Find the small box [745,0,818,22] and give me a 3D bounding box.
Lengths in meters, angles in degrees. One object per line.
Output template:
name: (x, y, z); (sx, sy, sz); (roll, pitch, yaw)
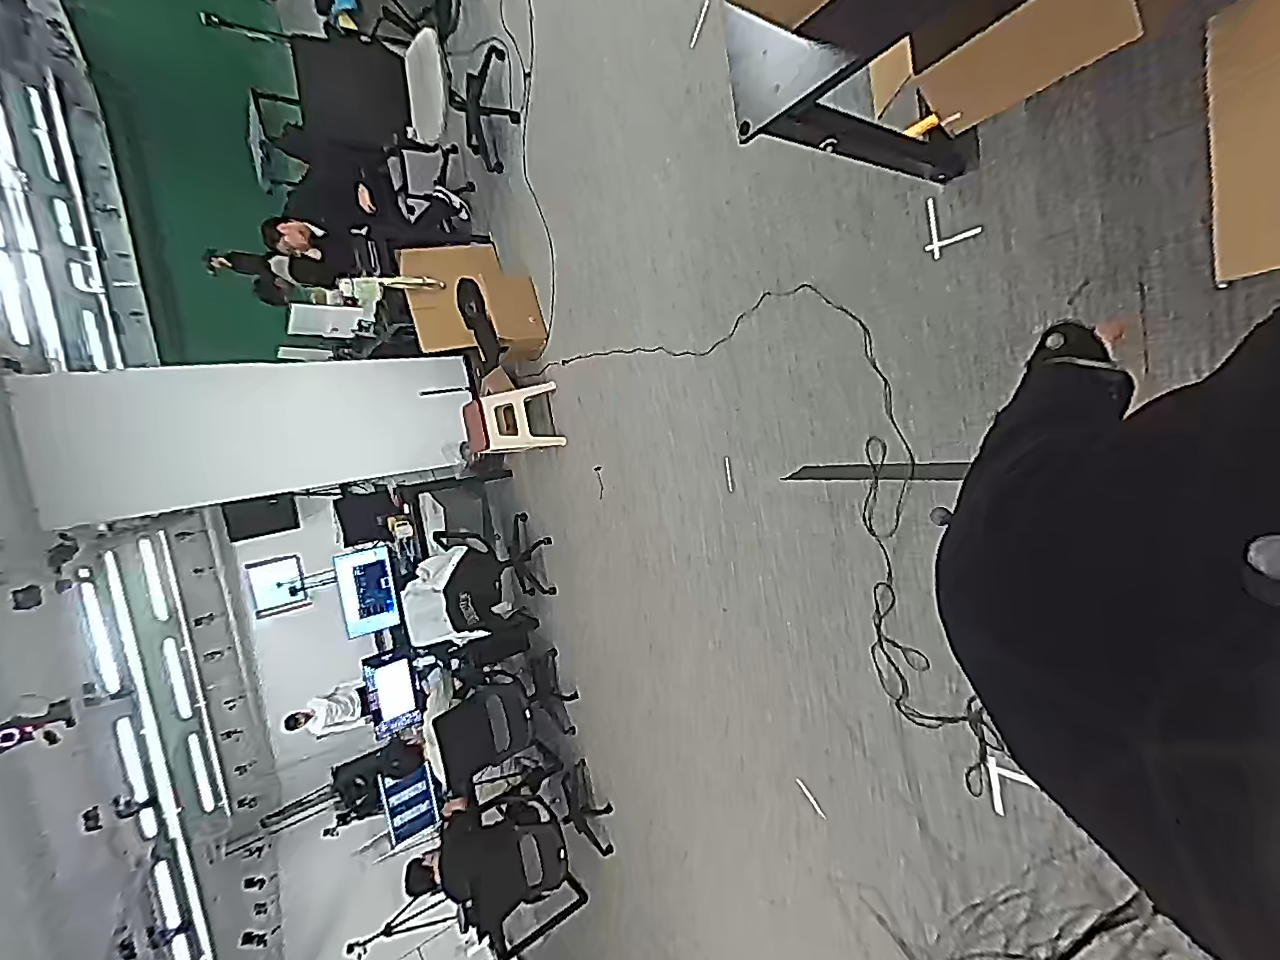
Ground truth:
small box: (0.205, -0.770, 0.722); (0.179, 0.176, 0.168); (-2, 100, 54)
